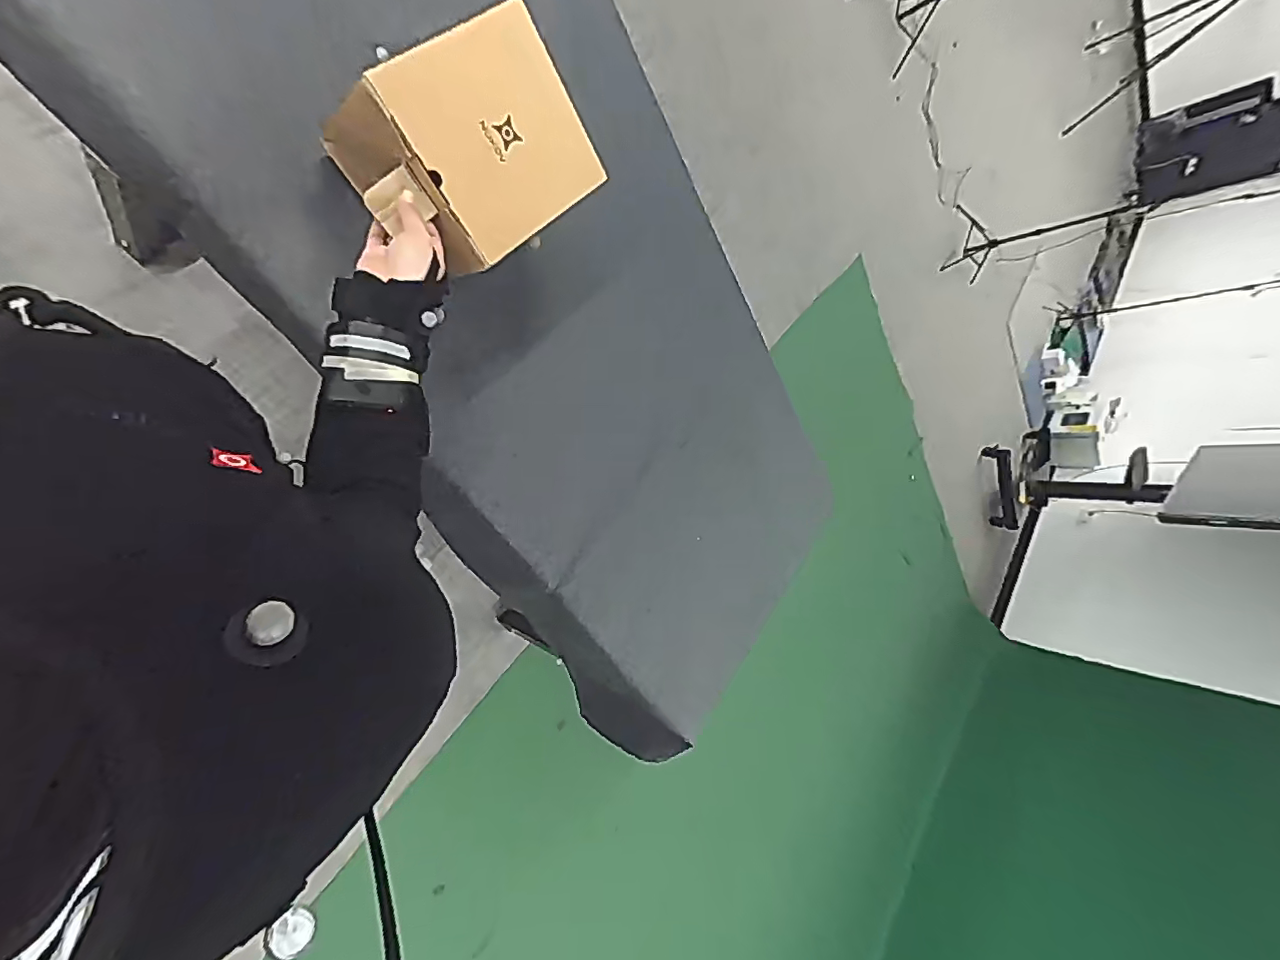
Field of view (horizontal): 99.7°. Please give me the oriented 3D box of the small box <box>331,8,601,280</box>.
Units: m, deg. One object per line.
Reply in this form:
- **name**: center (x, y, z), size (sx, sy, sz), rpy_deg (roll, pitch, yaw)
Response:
- **small box**: center (-0.179, -0.328, 0.559), size (0.179, 0.176, 0.168), rpy_deg (-48, 127, -22)
